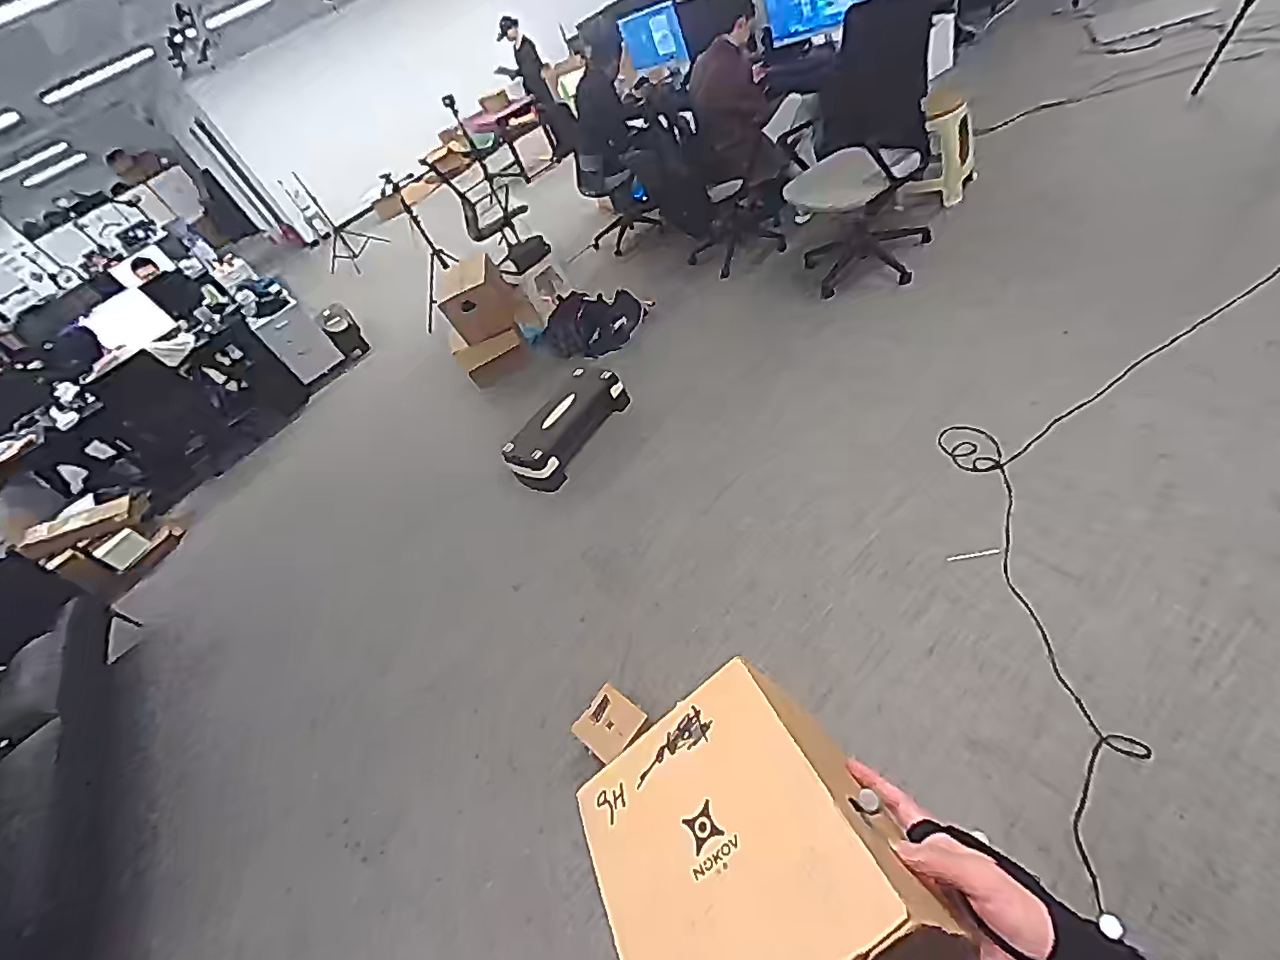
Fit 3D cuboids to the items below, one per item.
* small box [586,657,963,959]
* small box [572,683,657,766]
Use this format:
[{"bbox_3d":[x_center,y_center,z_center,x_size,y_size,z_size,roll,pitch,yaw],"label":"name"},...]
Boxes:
[{"bbox_3d":[0.094,0.269,0.391,0.168,0.176,0.179,-41,38,4],"label":"small box"},{"bbox_3d":[-0.059,0.733,1.566,0.179,0.176,0.168,23,62,41],"label":"small box"}]
